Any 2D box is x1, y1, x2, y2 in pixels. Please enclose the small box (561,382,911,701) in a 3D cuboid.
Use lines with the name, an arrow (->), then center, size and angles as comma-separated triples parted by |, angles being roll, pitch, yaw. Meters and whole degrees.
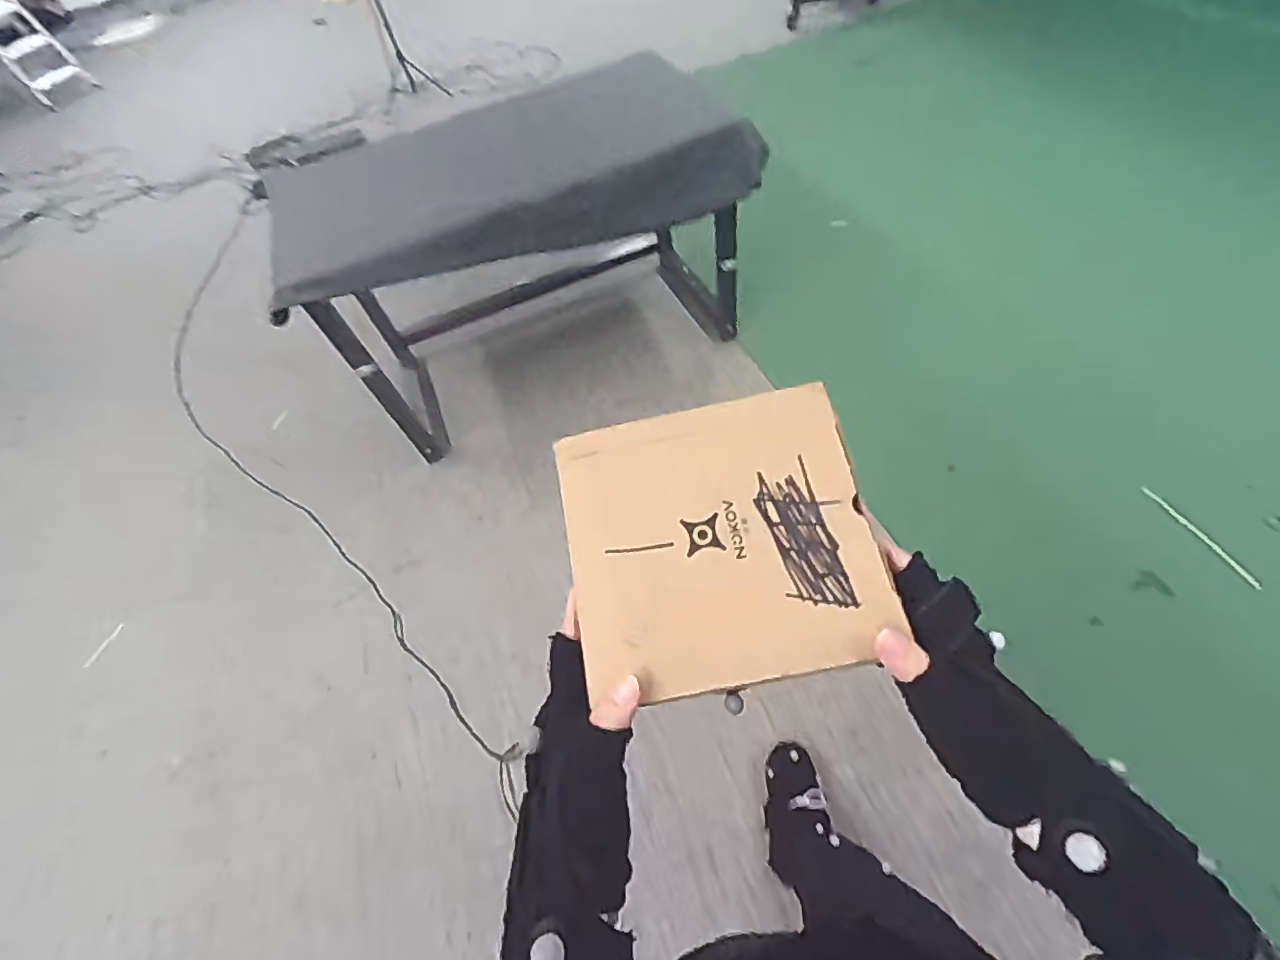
small box -> 0.054, 0.055, 0.390 | 0.179, 0.176, 0.168 | -12, 68, 2
